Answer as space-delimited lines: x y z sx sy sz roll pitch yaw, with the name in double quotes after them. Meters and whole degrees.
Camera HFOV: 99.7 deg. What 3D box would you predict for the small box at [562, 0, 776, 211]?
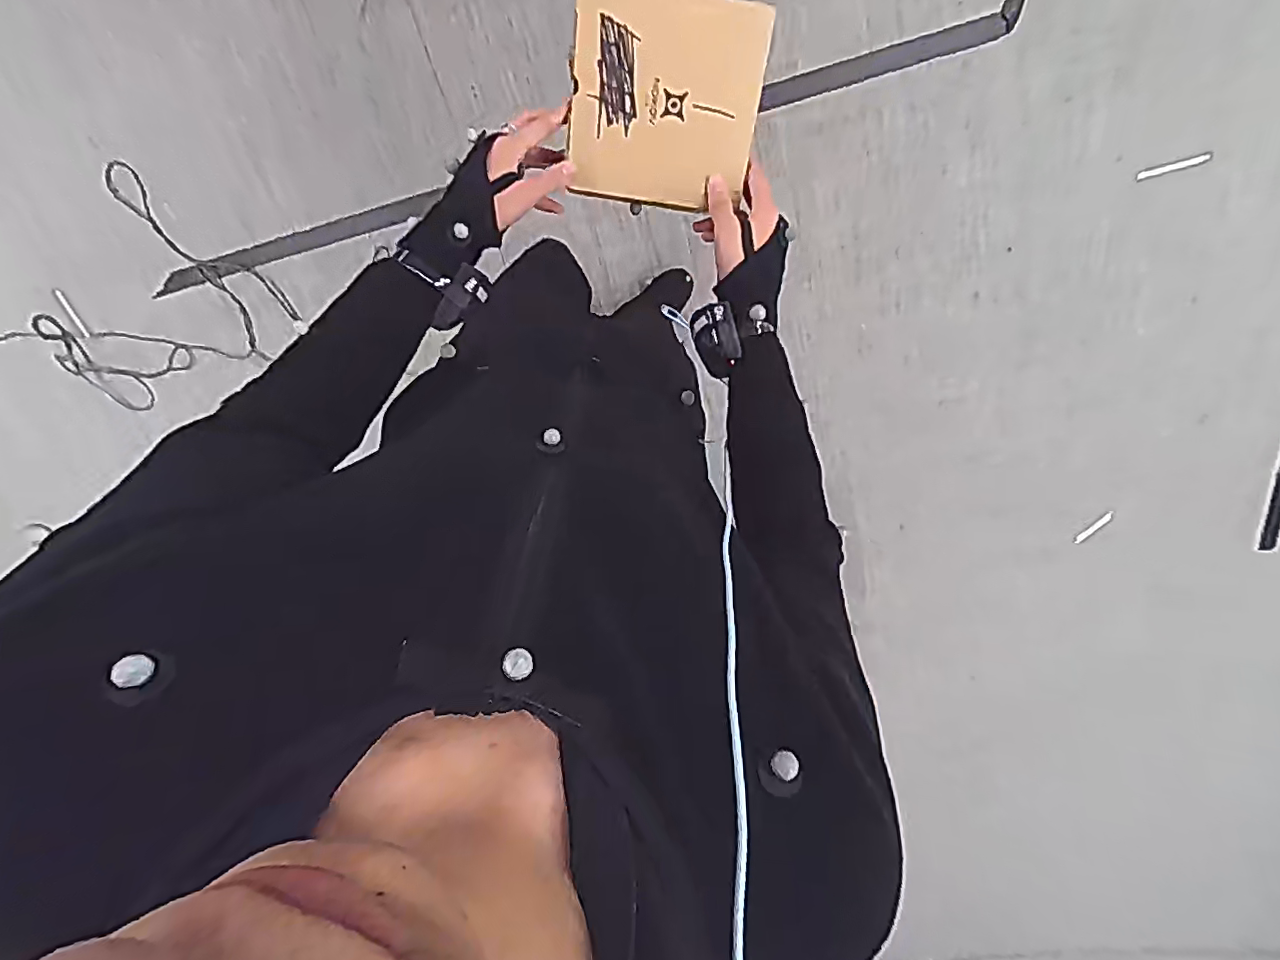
0.016 -0.381 0.561 0.179 0.176 0.168 5 116 -8 "small box"
